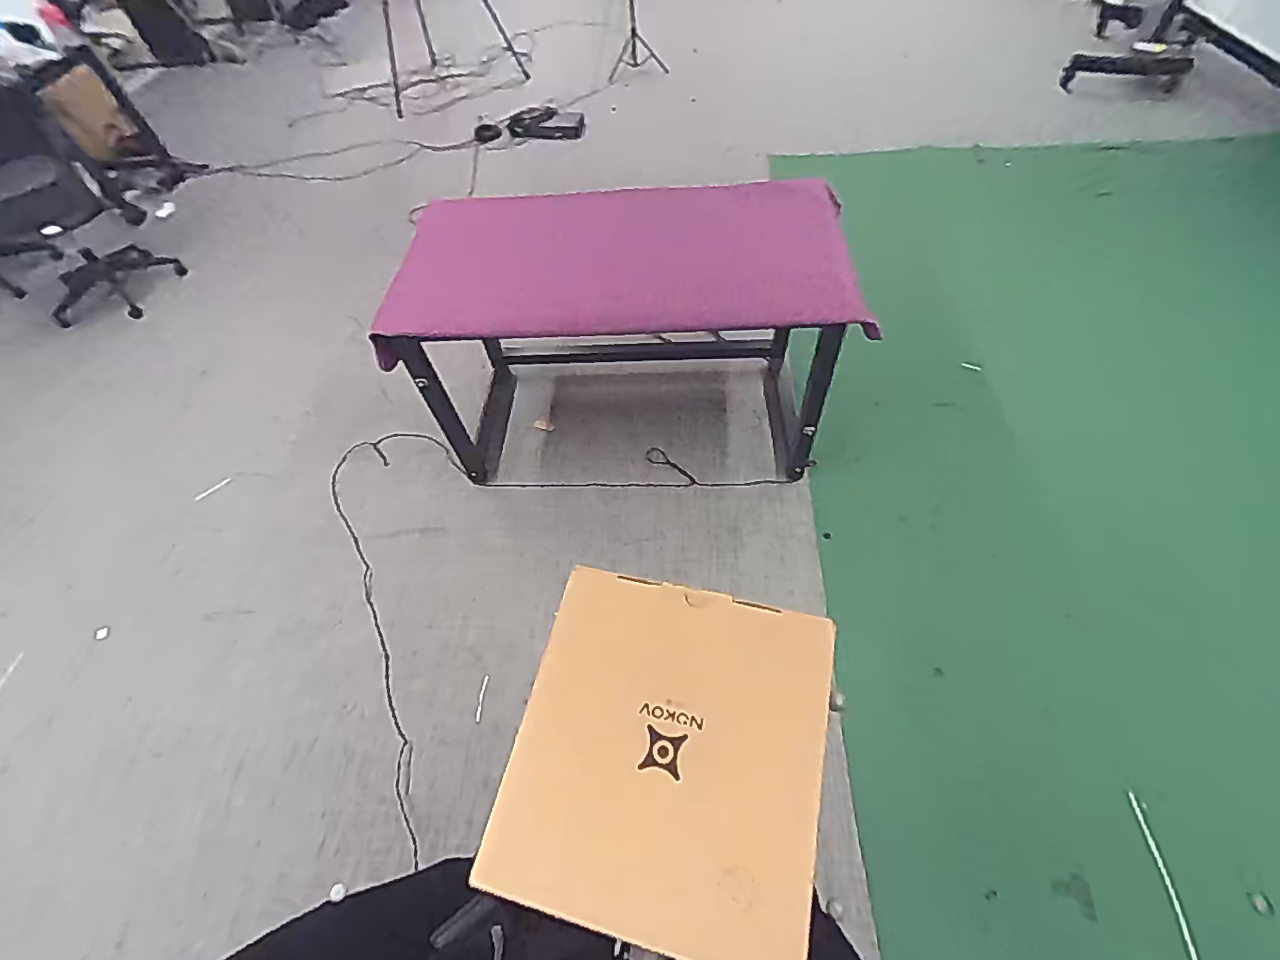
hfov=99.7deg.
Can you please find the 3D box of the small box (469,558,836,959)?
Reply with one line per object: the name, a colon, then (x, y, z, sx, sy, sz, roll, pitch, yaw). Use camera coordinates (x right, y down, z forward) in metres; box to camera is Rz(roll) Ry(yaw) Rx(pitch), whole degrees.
small box: (0.022, 0.176, 0.356, 0.168, 0.176, 0.179, 10, 61, 12)
